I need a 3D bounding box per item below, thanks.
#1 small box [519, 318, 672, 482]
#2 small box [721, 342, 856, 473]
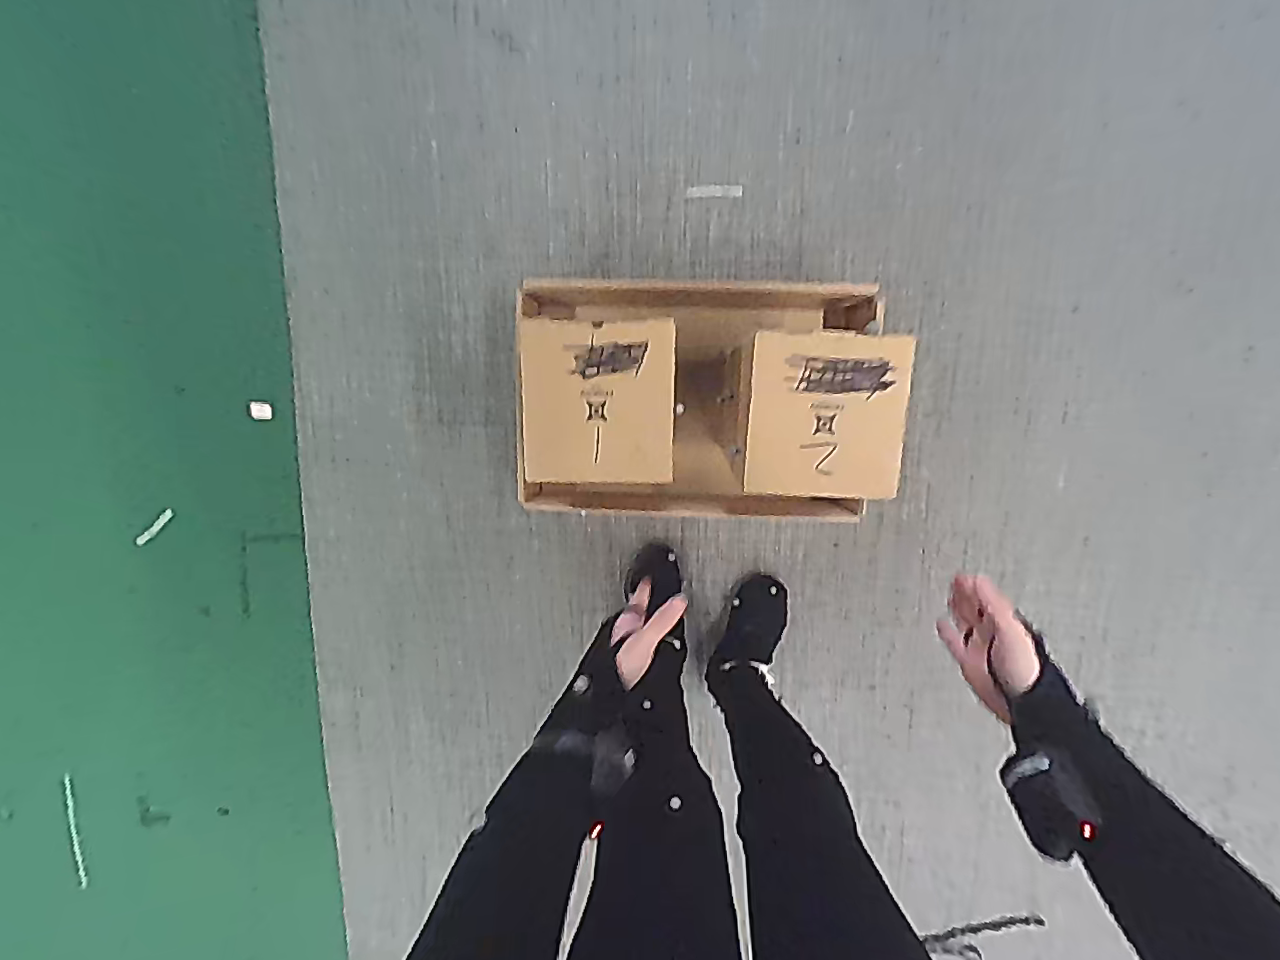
[{"bbox_3d":[-0.048,-0.096,0.663,0.168,0.176,0.179,1,99,1],"label":"small box"},{"bbox_3d":[0.212,-0.108,0.818,0.168,0.176,0.179,2,98,4],"label":"small box"}]
